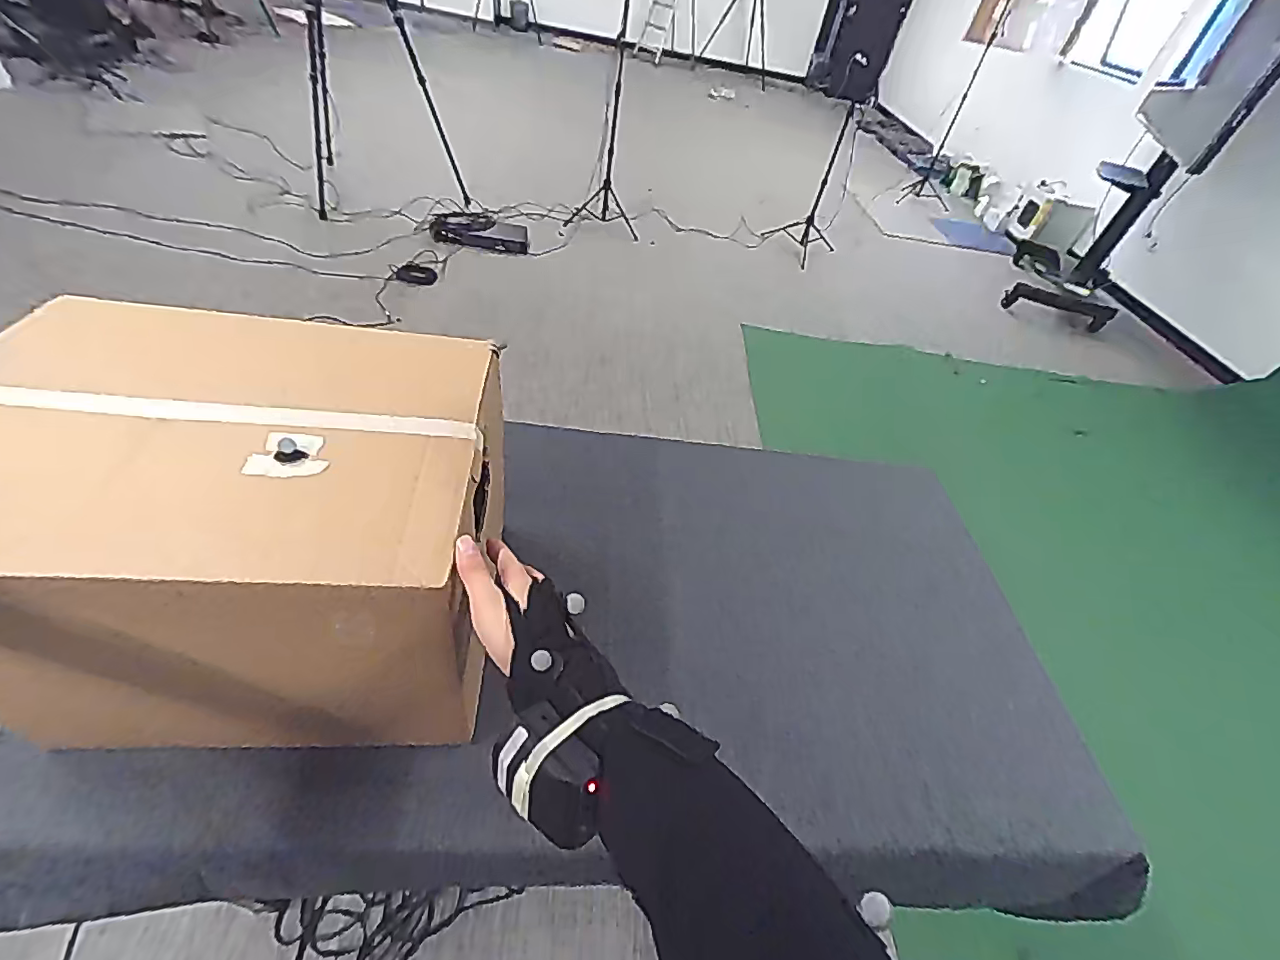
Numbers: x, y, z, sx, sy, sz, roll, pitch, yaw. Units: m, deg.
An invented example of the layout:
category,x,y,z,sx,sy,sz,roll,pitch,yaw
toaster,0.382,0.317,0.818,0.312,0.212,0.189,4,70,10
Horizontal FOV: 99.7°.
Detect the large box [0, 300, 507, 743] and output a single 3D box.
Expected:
category,x,y,z,sx,sy,sz,roll,pitch,yaw
large box,-0.356,0.052,0.553,0.408,0.320,0.320,4,46,-11
